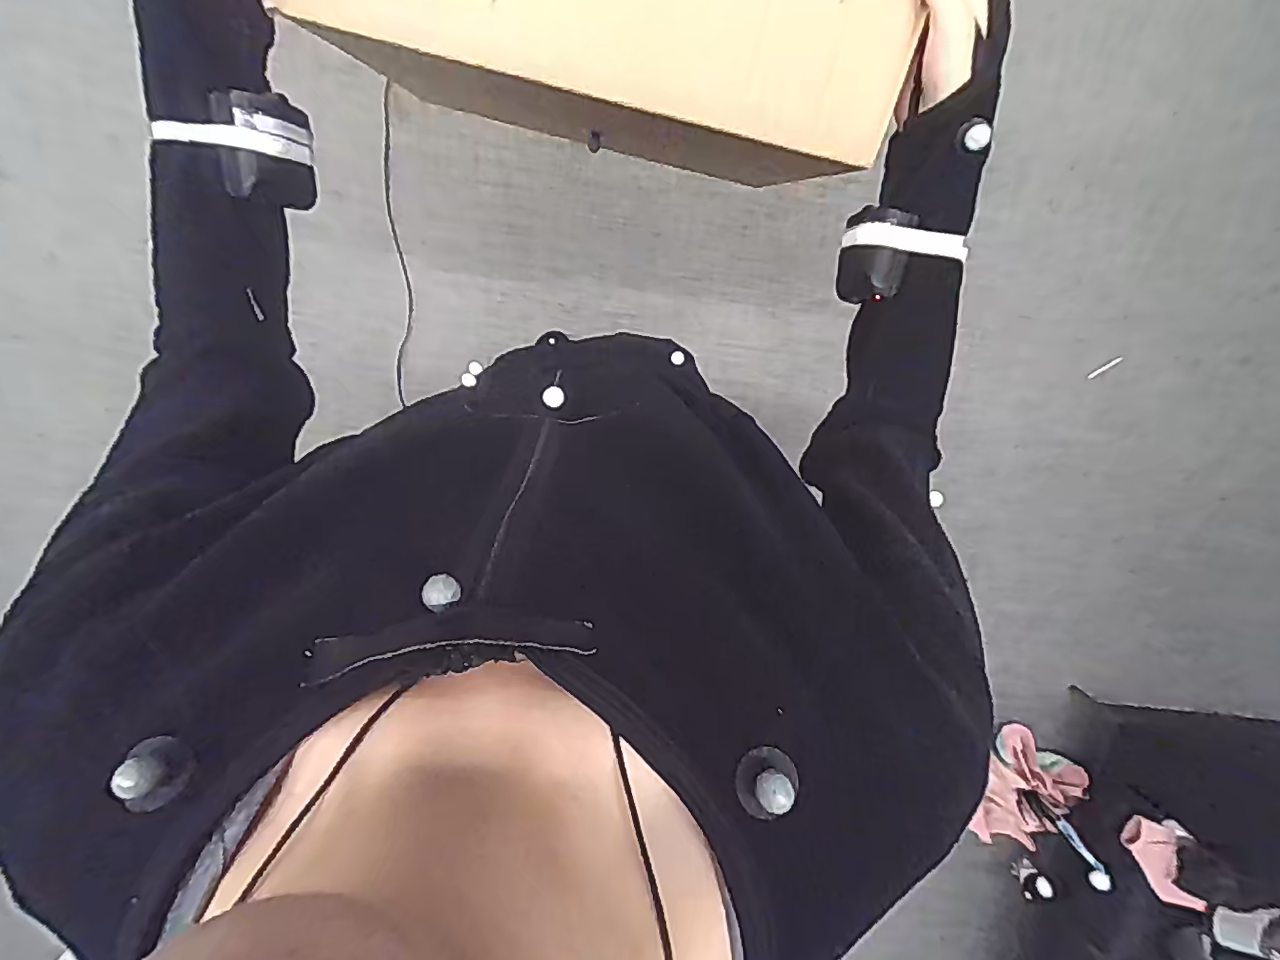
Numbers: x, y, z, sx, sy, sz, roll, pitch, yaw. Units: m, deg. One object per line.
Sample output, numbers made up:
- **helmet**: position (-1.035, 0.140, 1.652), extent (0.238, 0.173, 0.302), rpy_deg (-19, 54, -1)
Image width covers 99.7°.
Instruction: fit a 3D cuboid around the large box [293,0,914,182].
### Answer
- **large box**: position (-0.006, -0.459, 0.444), extent (0.408, 0.320, 0.320), rpy_deg (10, 115, -8)
